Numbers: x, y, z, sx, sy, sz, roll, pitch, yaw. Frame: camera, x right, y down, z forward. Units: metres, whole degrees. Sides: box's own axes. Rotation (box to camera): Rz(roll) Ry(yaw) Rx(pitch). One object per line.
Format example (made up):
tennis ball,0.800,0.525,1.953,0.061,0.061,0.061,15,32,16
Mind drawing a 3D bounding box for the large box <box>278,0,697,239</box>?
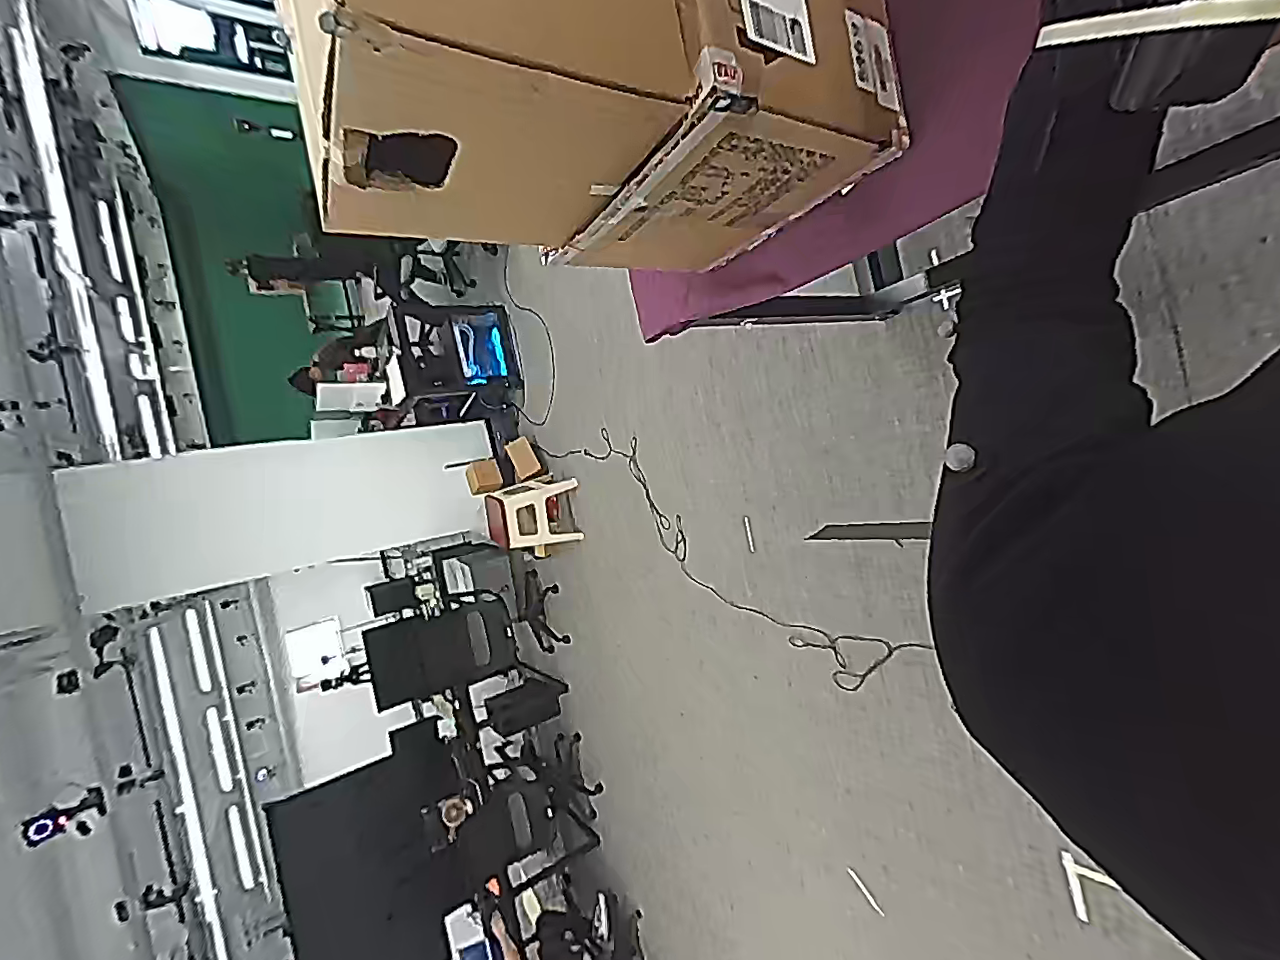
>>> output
large box,-0.186,-0.517,0.555,0.320,0.320,0.408,-12,91,59
